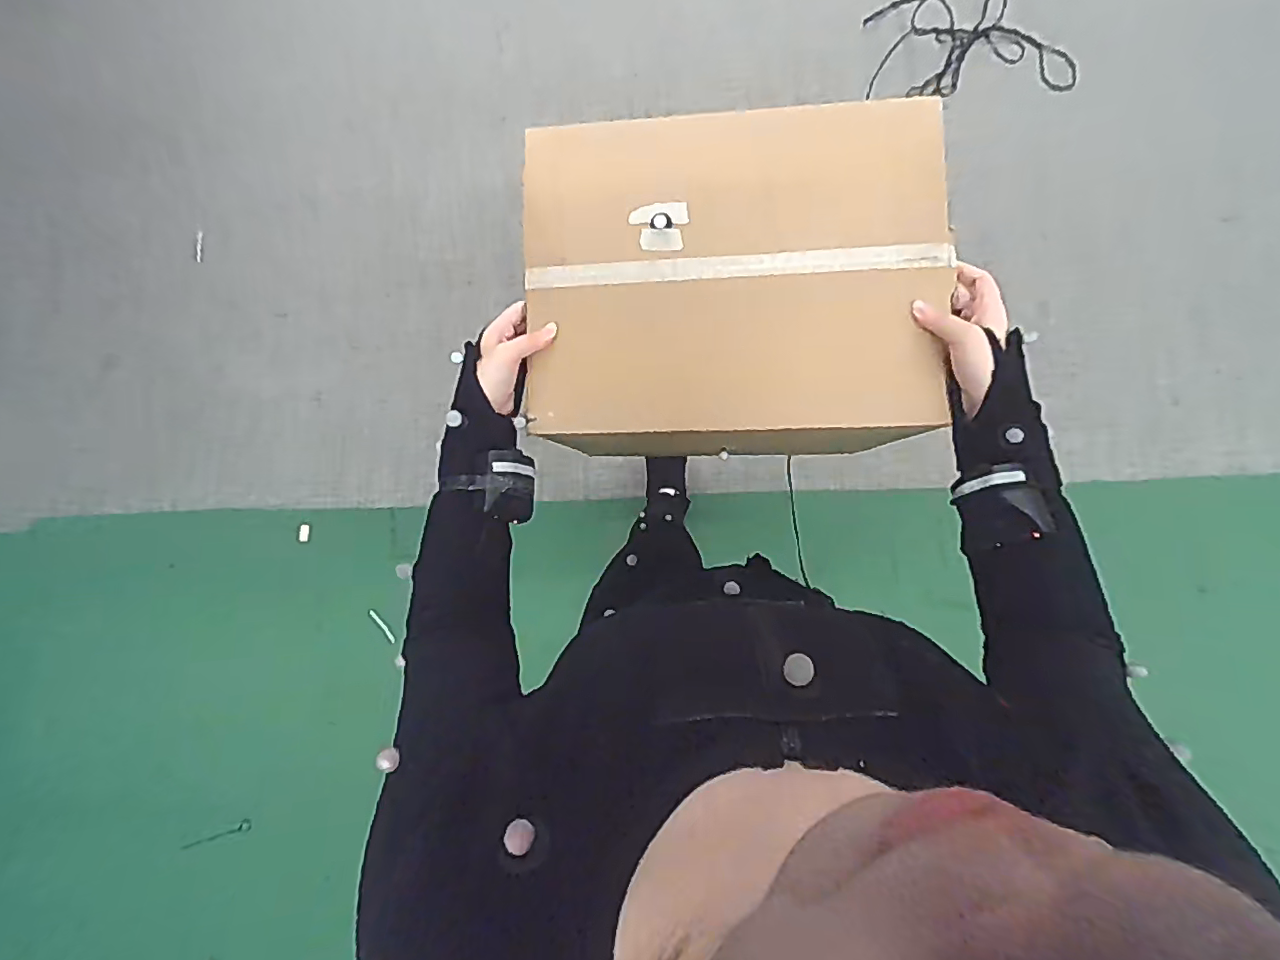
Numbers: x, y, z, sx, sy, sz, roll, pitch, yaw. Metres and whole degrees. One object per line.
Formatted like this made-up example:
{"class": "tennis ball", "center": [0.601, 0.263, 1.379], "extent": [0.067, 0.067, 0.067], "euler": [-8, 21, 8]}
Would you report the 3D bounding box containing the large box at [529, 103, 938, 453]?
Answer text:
{"class": "large box", "center": [0.104, -0.201, 0.688], "extent": [0.408, 0.320, 0.320], "euler": [-1, 87, 8]}
